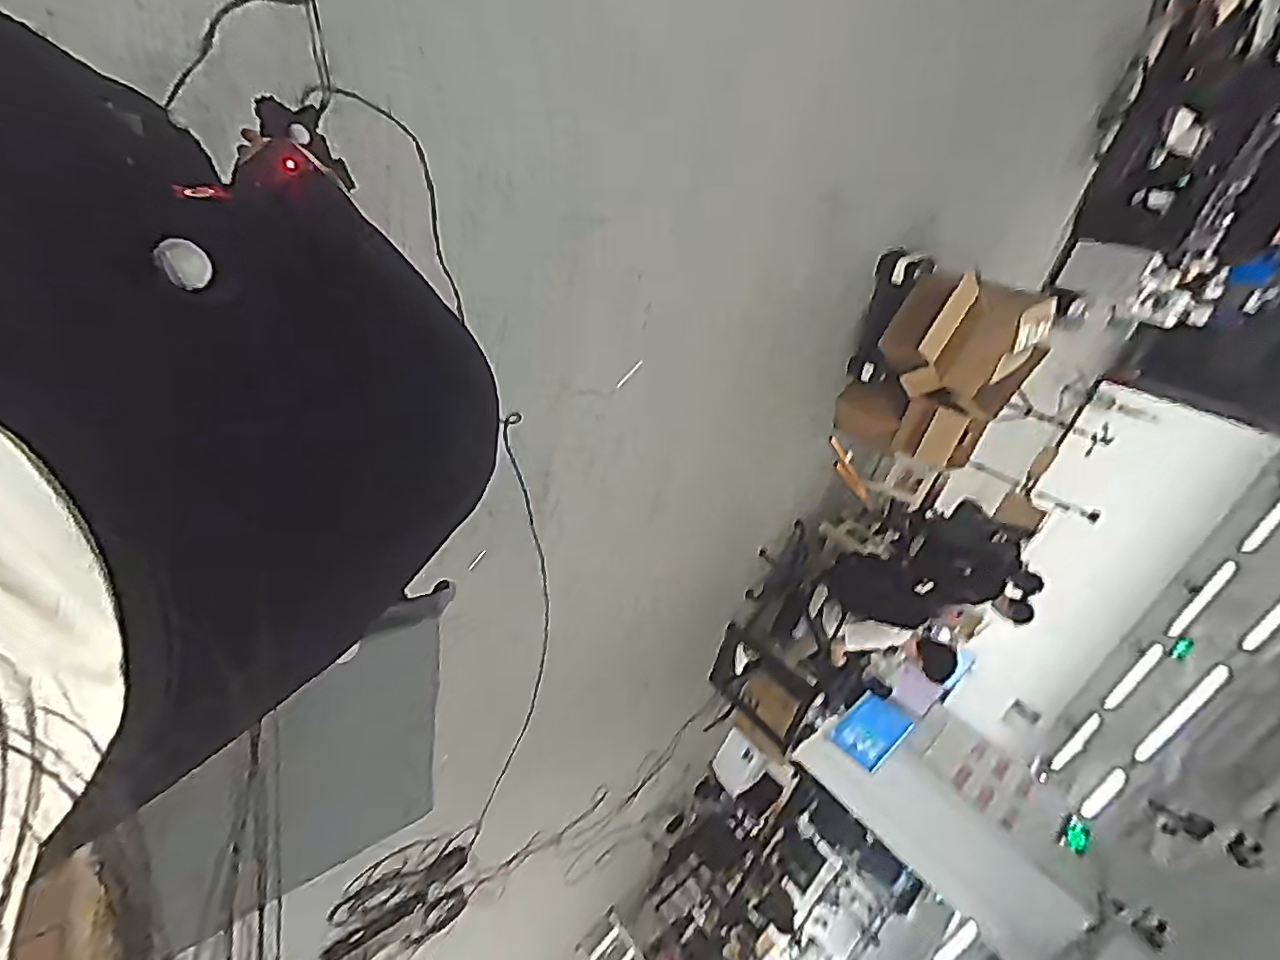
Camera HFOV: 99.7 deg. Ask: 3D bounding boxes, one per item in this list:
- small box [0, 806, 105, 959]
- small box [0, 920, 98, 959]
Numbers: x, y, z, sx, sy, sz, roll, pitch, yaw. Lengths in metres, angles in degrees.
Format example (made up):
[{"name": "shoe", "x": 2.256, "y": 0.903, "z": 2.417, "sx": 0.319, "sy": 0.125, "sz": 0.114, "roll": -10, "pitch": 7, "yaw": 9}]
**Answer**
[{"name": "small box", "x": -0.770, "y": 0.531, "z": 0.641, "sx": 0.168, "sy": 0.176, "sz": 0.179, "roll": -12, "pitch": 127, "yaw": -41}, {"name": "small box", "x": -0.667, "y": 0.604, "z": 0.534, "sx": 0.179, "sy": 0.176, "sz": 0.168, "roll": -13, "pitch": 128, "yaw": -39}]
